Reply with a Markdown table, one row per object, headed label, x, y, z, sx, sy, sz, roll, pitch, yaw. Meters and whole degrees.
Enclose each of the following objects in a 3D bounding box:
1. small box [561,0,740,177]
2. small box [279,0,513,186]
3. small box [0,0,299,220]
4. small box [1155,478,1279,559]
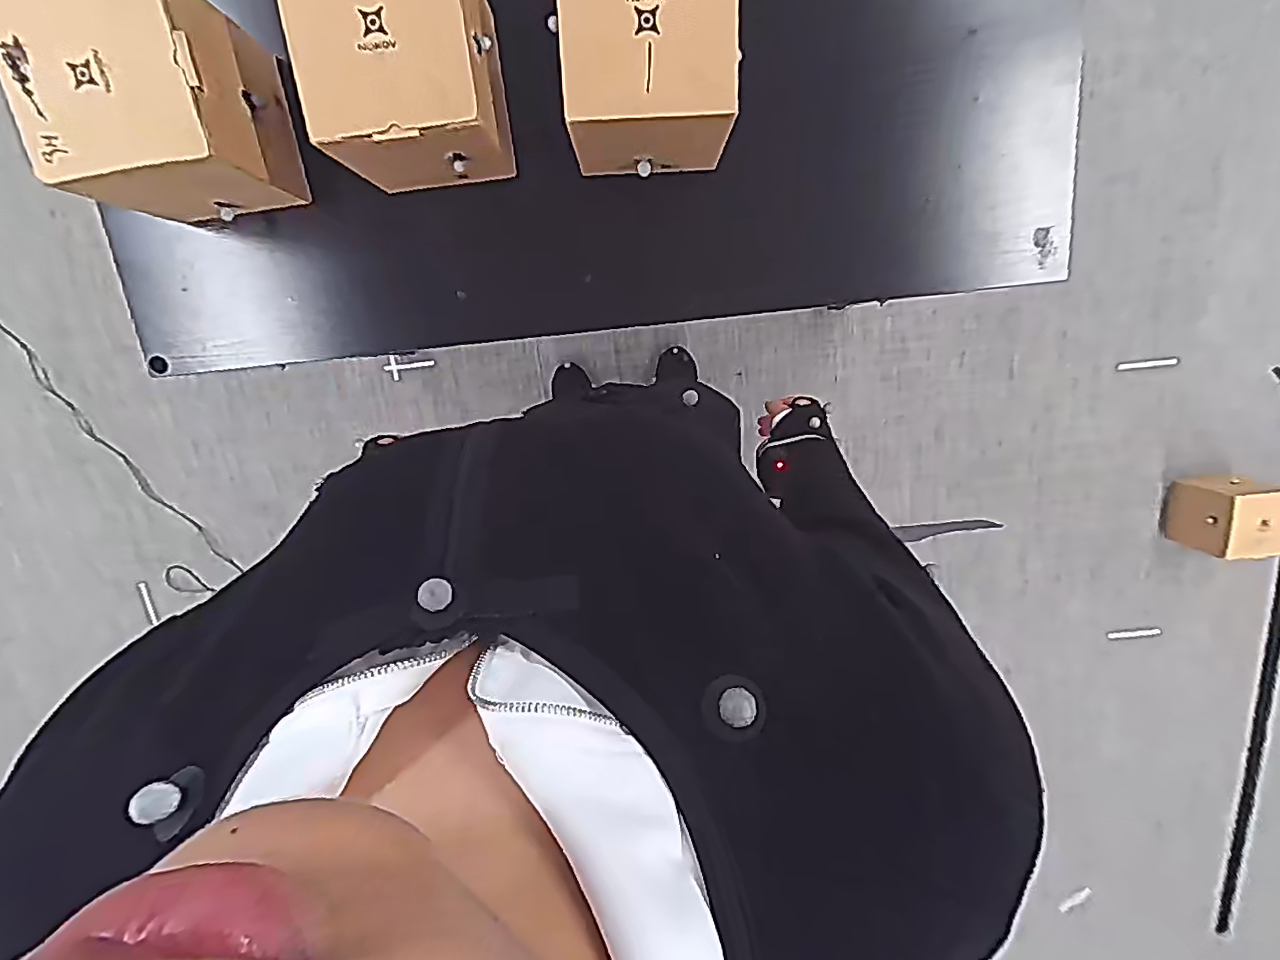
| label | x | y | z | sx | sy | sz | roll | pitch | yaw |
| --- | --- | --- | --- | --- | --- | --- | --- | --- | --- |
| small box | 0.007 | -0.442 | 0.569 | 0.168 | 0.176 | 0.179 | -2 | 104 | 0 |
| small box | -0.242 | -0.429 | 0.571 | 0.168 | 0.176 | 0.179 | -7 | 102 | 0 |
| small box | -0.501 | -0.393 | 0.576 | 0.179 | 0.176 | 0.168 | -8 | 103 | 0 |
| small box | 1.554 | 0.097 | 1.459 | 0.168 | 0.176 | 0.179 | -5 | 104 | 2 |
